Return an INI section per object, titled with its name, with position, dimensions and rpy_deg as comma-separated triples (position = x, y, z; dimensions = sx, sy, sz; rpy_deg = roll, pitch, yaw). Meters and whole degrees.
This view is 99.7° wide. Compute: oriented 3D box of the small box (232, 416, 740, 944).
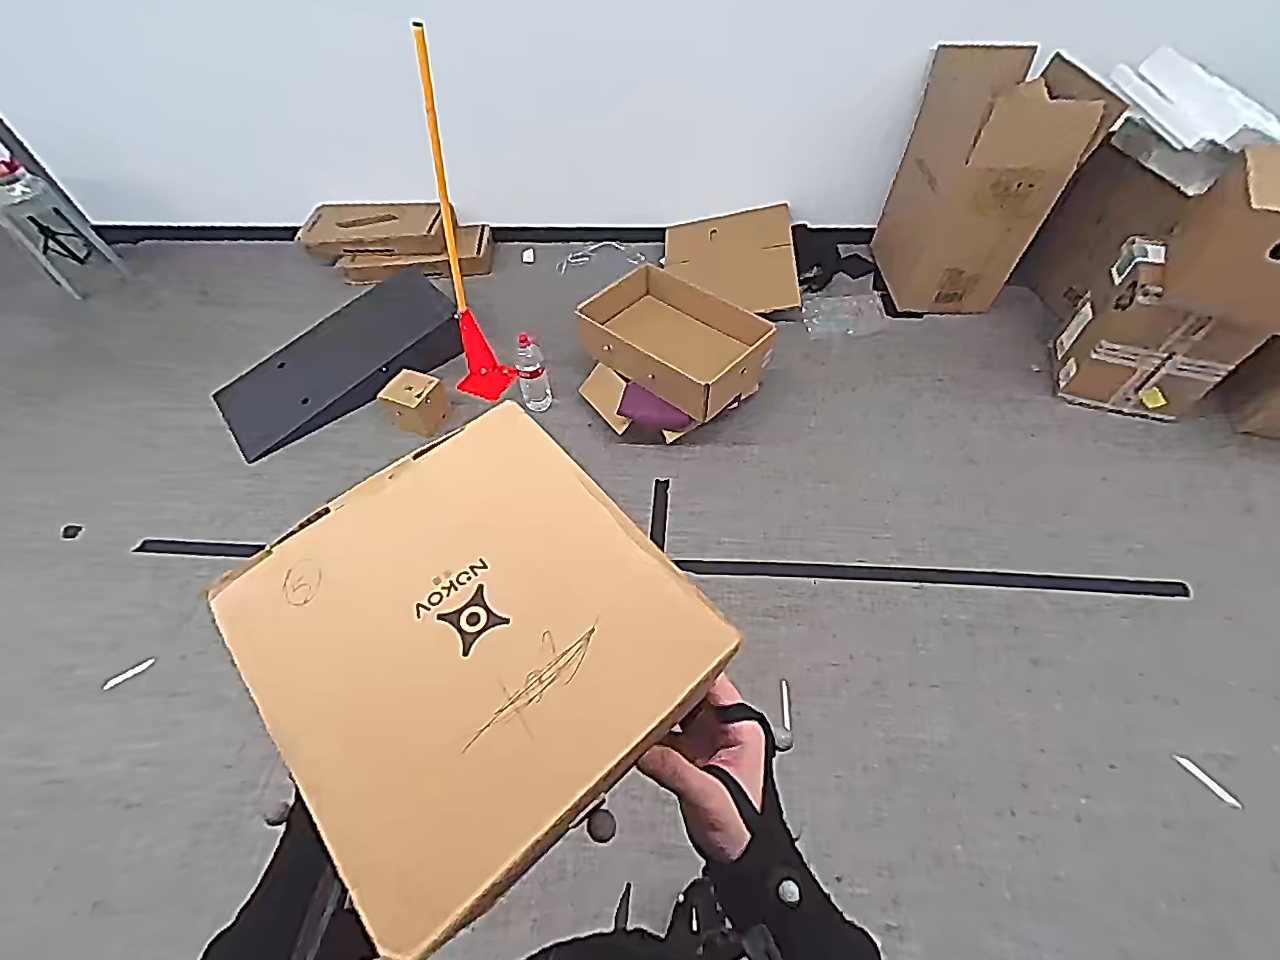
[small box]
position = -0.073, 0.104, 0.313
dimensions = 0.168, 0.176, 0.179
rpy_deg = -39, 68, -21
